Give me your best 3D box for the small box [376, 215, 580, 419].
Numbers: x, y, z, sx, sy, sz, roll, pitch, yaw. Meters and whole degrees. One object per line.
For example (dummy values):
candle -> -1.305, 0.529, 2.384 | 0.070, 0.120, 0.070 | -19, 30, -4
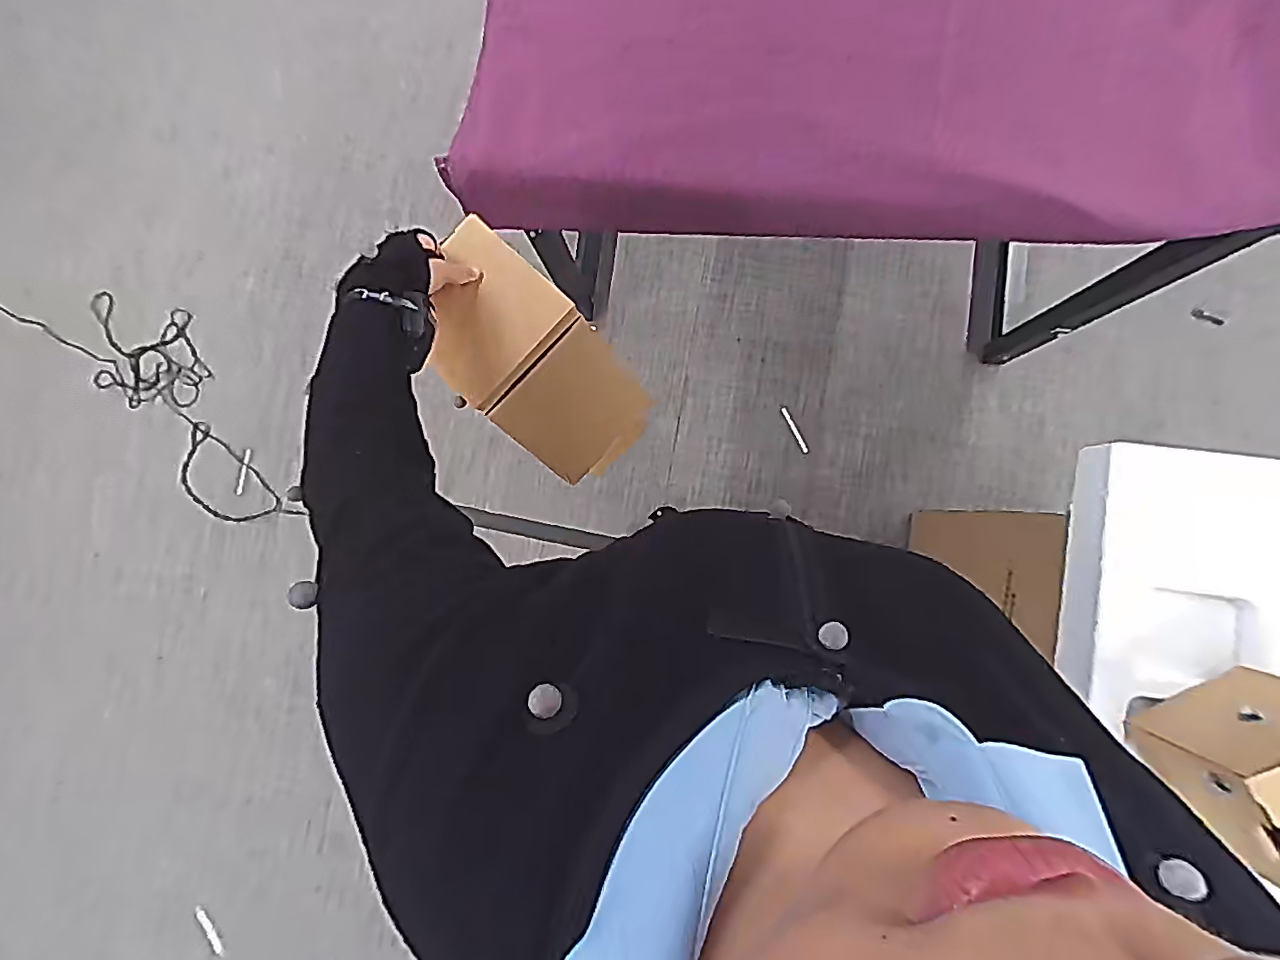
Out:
small box -> -0.193, -0.194, 0.708 | 0.179, 0.176, 0.168 | 43, 87, -3
